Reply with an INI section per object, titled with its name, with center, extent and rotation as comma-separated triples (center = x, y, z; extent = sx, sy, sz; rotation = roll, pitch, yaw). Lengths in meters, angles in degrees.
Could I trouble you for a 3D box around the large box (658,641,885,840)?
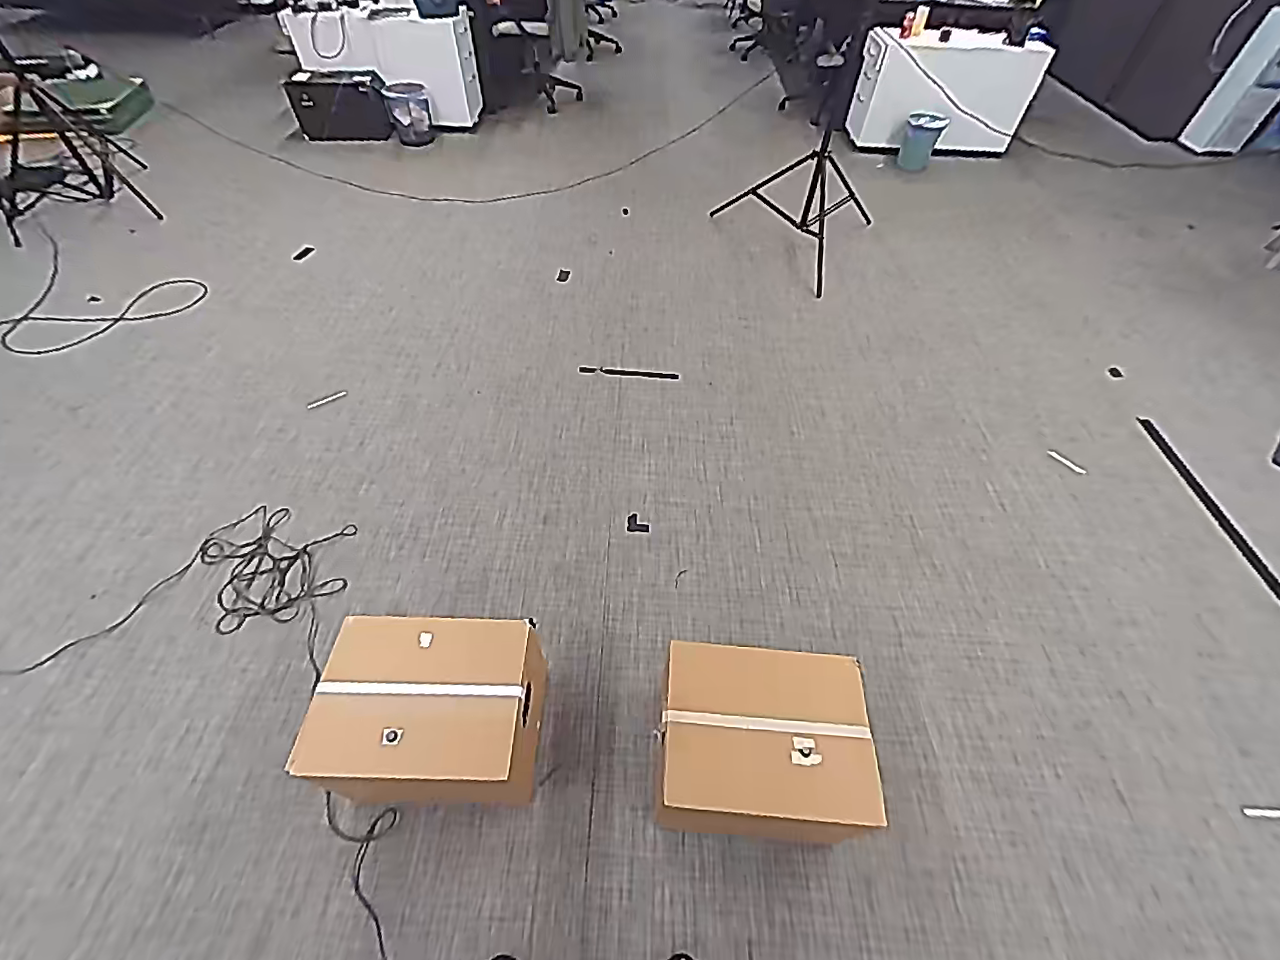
[large box]
center = 0.251, 0.577, 1.189
extent = 0.408, 0.320, 0.320
rotation = 5, 51, 1
